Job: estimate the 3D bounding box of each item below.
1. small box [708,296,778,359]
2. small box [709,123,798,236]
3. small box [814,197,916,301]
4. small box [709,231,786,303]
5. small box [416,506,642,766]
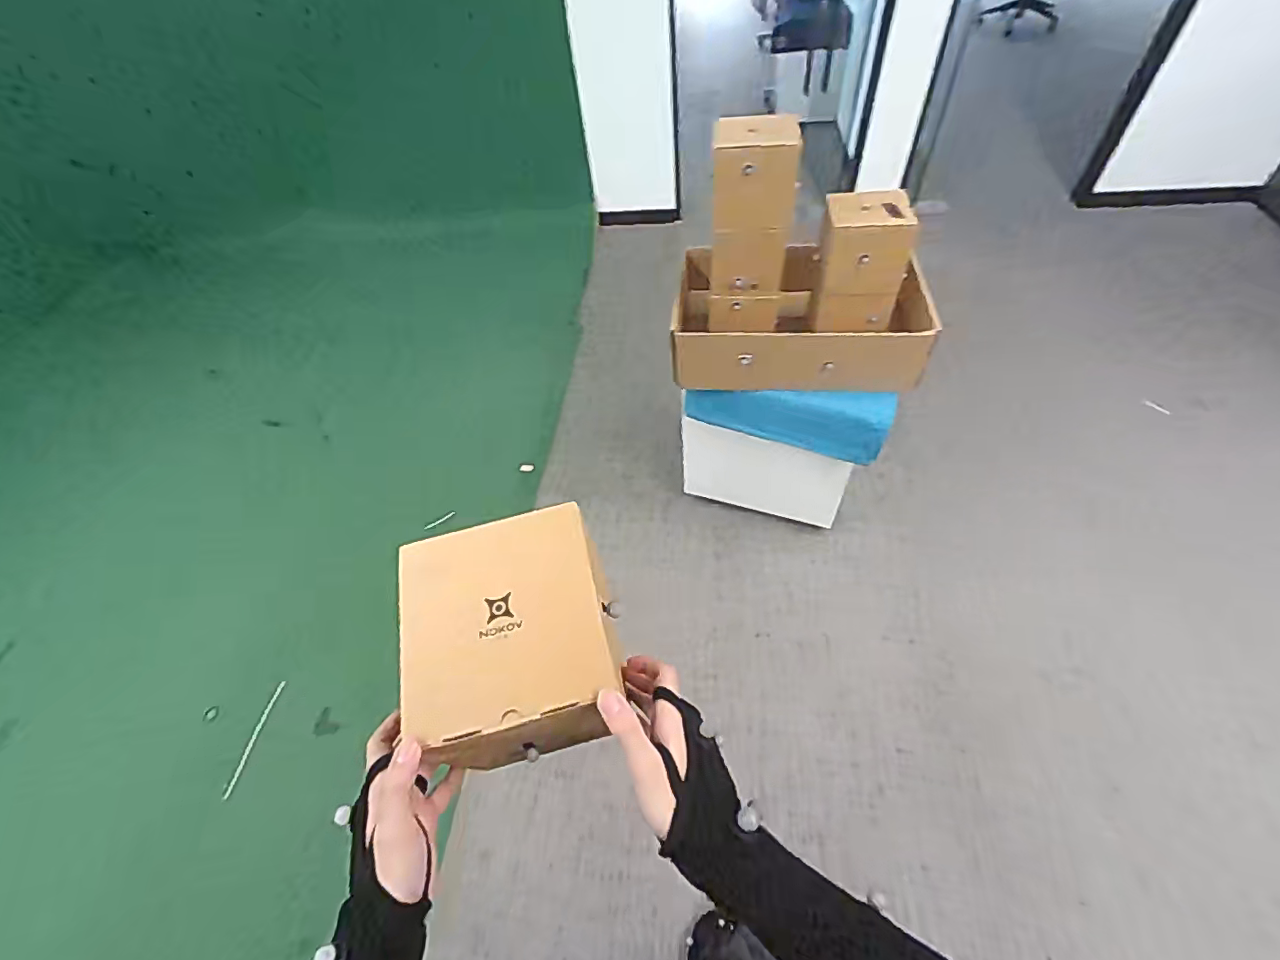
[{"bbox_3d":[0.268,-0.441,1.427,0.168,0.176,0.179,2,50,8],"label":"small box"},{"bbox_3d":[0.241,-0.650,1.177,0.179,0.176,0.168,3,51,8],"label":"small box"},{"bbox_3d":[0.516,-0.537,1.263,0.179,0.176,0.168,1,50,9],"label":"small box"},{"bbox_3d":[0.255,-0.549,1.306,0.168,0.176,0.179,2,51,8],"label":"small box"},{"bbox_3d":[-0.098,0.153,0.514,0.168,0.176,0.179,-14,58,-3],"label":"small box"}]
